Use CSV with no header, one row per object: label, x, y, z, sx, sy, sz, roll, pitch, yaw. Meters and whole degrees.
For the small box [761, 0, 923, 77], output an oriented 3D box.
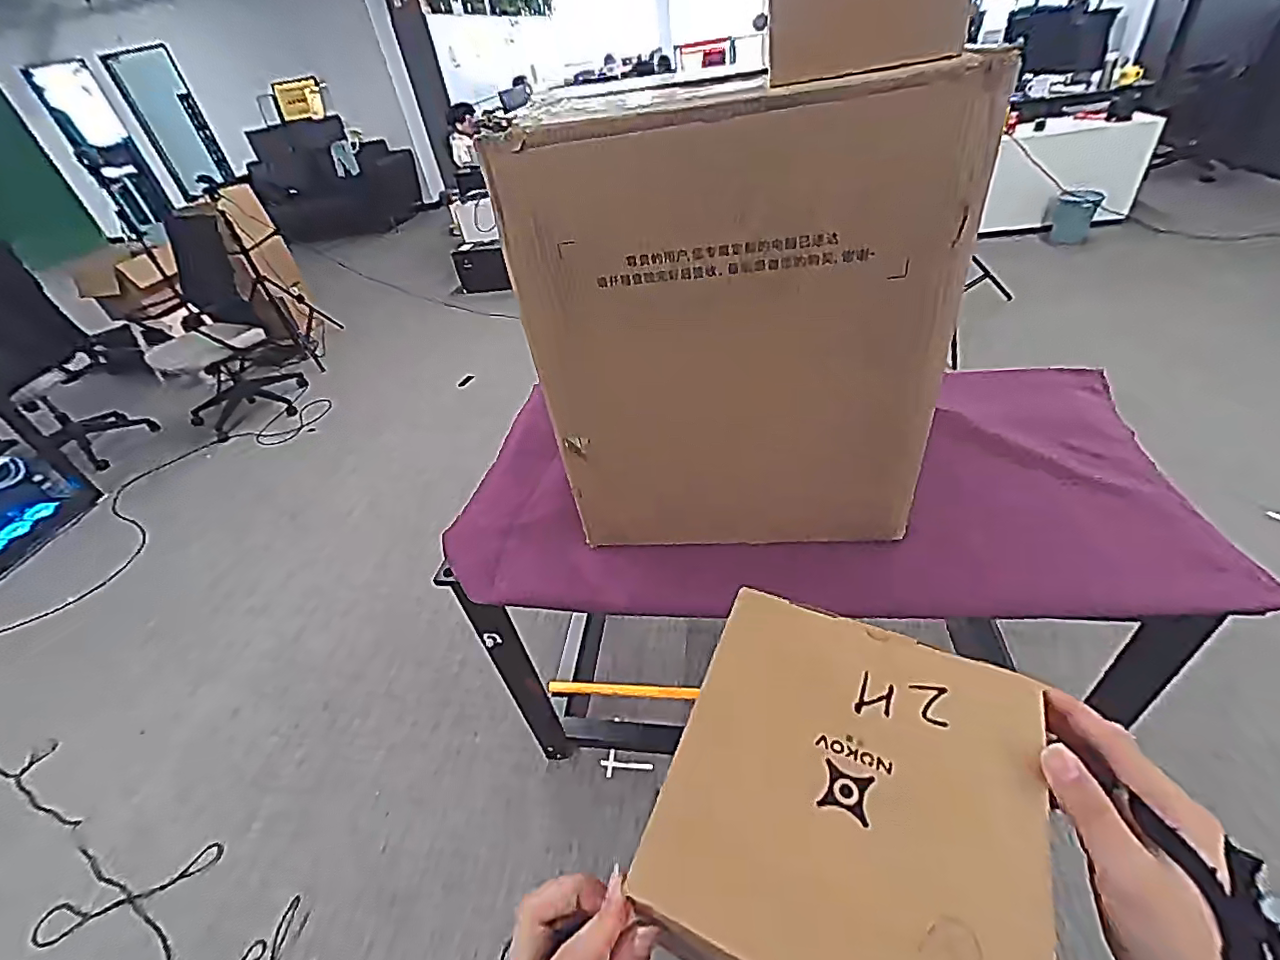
small box,0.237,-0.605,0.653,0.179,0.176,0.168,-2,39,10
